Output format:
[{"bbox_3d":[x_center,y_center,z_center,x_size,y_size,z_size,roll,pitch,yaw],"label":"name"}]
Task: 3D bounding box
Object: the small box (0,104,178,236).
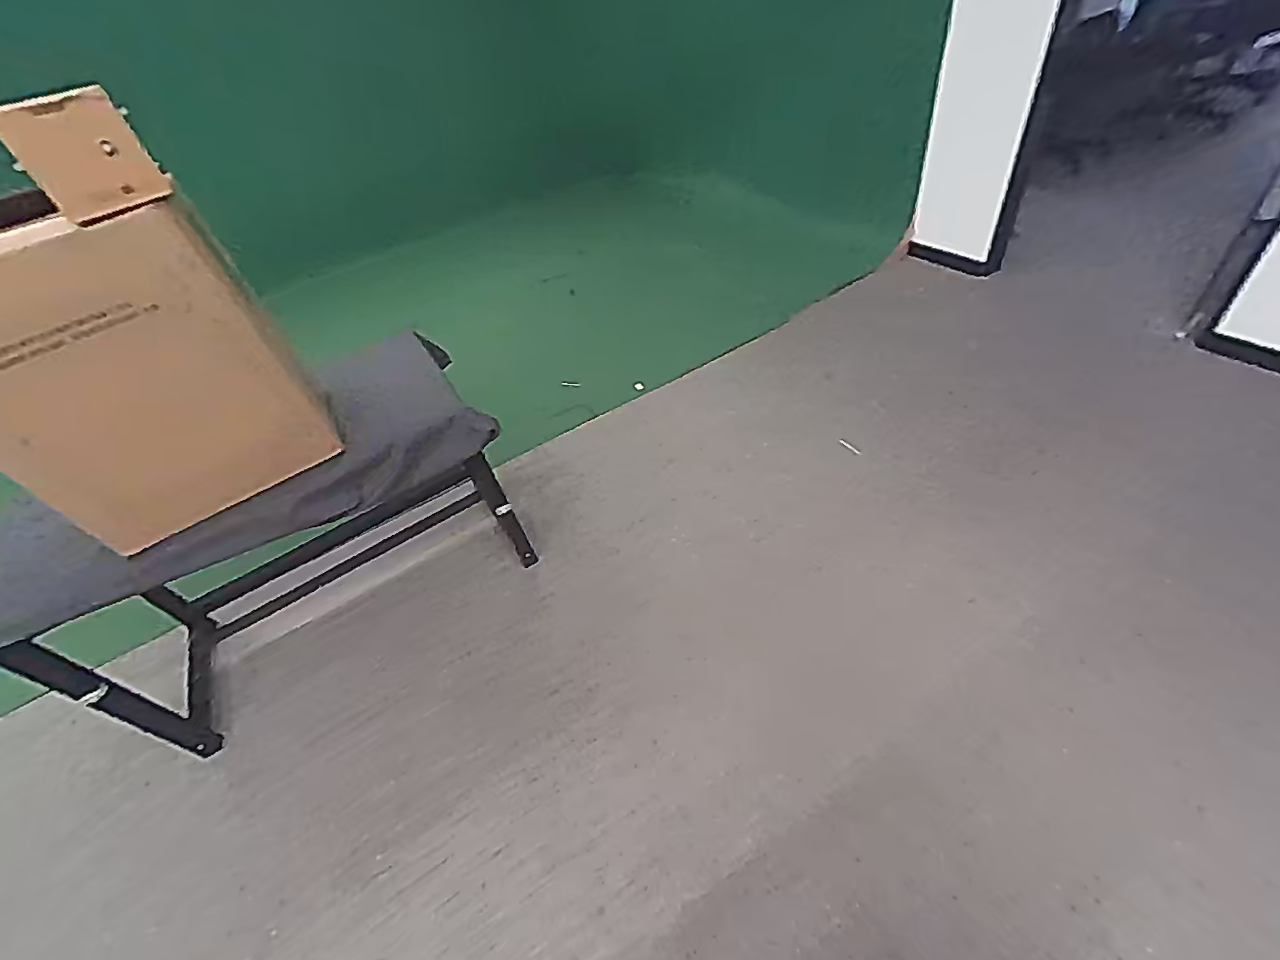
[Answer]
[{"bbox_3d":[-0.986,-0.561,0.980,0.168,0.176,0.179,-35,47,-24],"label":"small box"}]
